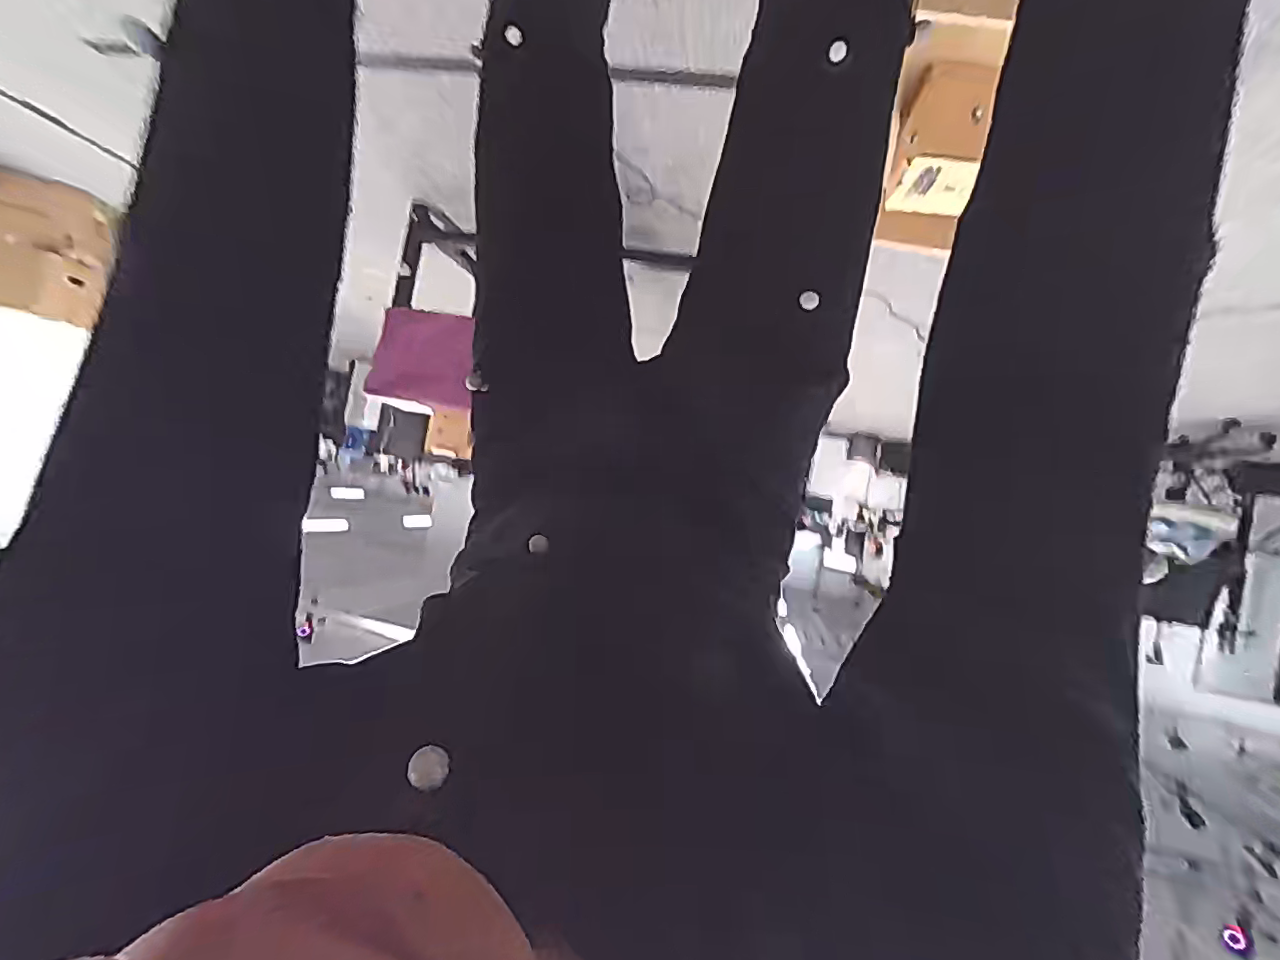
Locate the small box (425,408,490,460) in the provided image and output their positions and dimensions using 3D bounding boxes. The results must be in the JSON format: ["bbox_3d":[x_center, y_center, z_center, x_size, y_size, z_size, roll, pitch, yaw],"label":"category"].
[{"bbox_3d":[-0.707,-0.180,2.108,0.168,0.176,0.179,12,180,11],"label":"small box"}]
